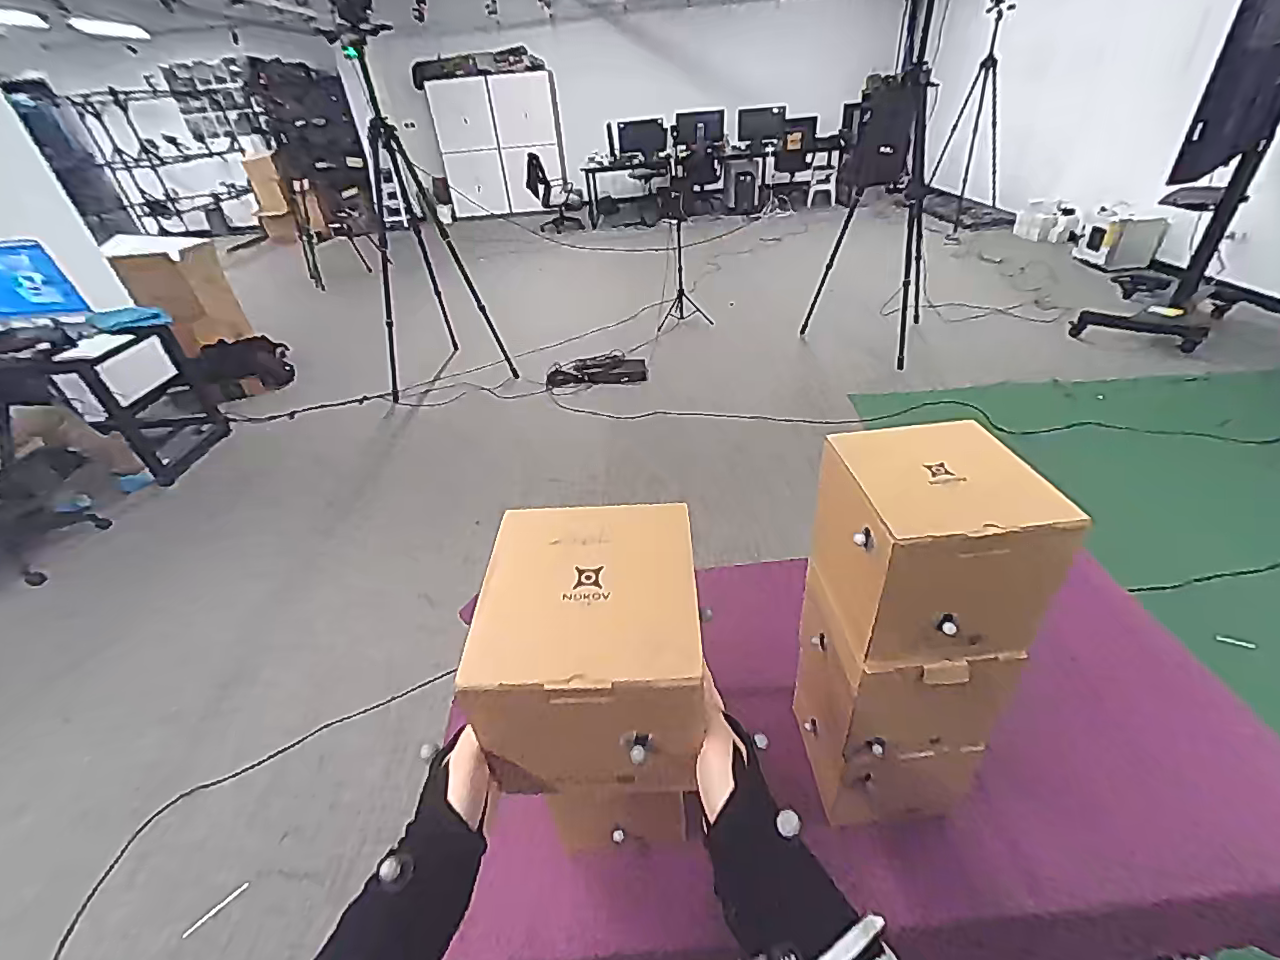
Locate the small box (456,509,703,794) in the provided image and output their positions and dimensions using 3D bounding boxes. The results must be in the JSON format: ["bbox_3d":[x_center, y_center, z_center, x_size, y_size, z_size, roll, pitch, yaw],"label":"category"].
[{"bbox_3d":[-0.033,0.146,0.460,0.168,0.176,0.179,-2,38,2],"label":"small box"}]

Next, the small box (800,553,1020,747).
[{"bbox_3d":[0.301,0.198,0.648,0.168,0.176,0.179,-6,34,0],"label":"small box"}]

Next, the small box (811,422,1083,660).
[{"bbox_3d":[0.289,0.059,0.563,0.168,0.176,0.179,-6,35,-1],"label":"small box"}]

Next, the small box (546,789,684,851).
[{"bbox_3d":[-0.030,0.370,0.738,0.168,0.176,0.179,-6,35,1],"label":"small box"}]
